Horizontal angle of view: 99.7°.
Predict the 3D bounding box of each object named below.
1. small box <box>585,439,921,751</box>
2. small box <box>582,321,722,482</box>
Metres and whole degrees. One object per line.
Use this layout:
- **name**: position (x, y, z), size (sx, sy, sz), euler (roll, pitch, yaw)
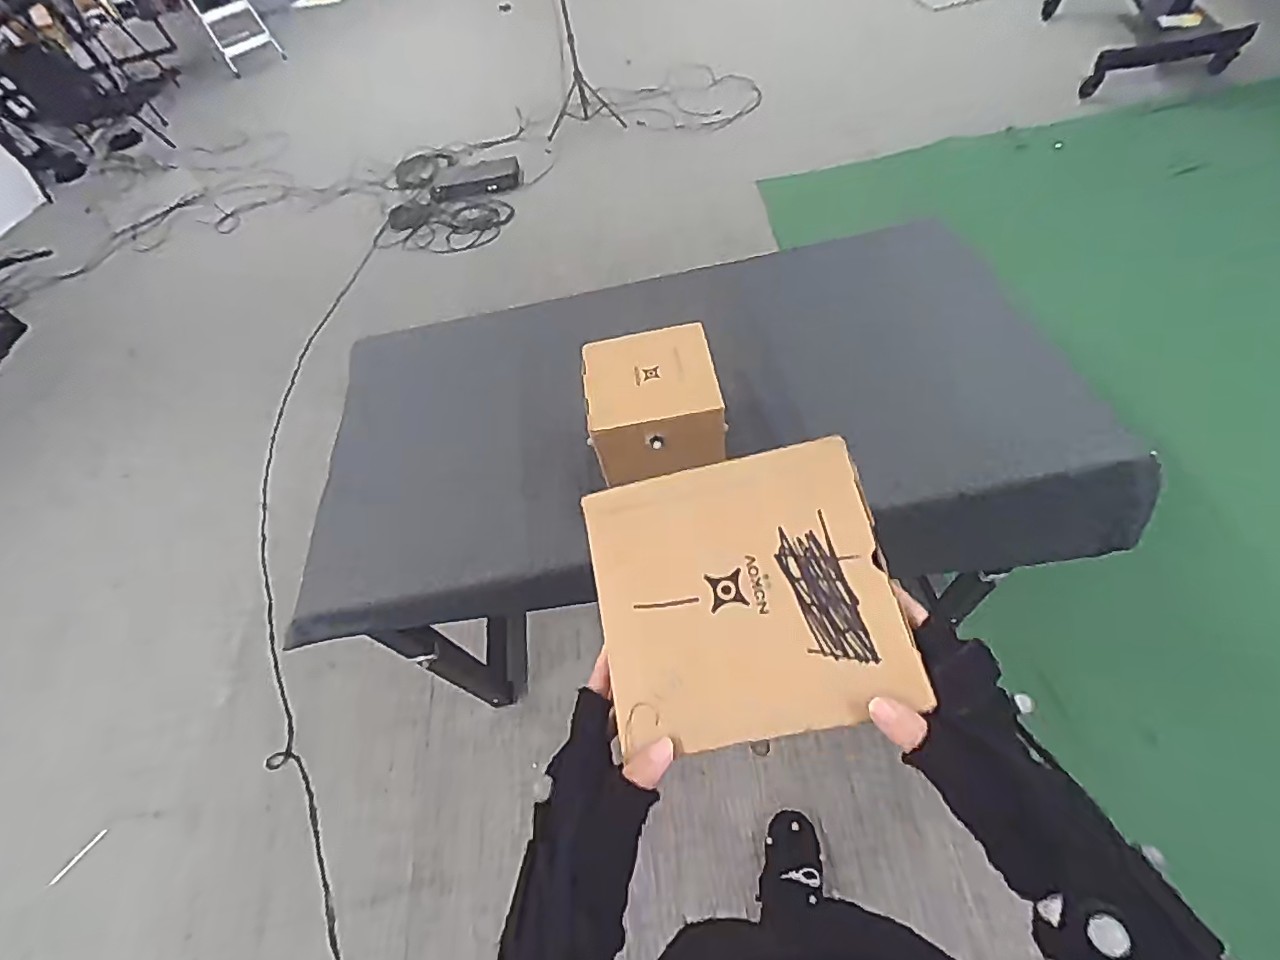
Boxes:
- **small box**: position (0.070, 0.089, 0.404), size (0.179, 0.176, 0.168), euler (-12, 70, 5)
- **small box**: position (0.021, -0.101, 0.790), size (0.179, 0.176, 0.168), euler (-10, 57, 2)
